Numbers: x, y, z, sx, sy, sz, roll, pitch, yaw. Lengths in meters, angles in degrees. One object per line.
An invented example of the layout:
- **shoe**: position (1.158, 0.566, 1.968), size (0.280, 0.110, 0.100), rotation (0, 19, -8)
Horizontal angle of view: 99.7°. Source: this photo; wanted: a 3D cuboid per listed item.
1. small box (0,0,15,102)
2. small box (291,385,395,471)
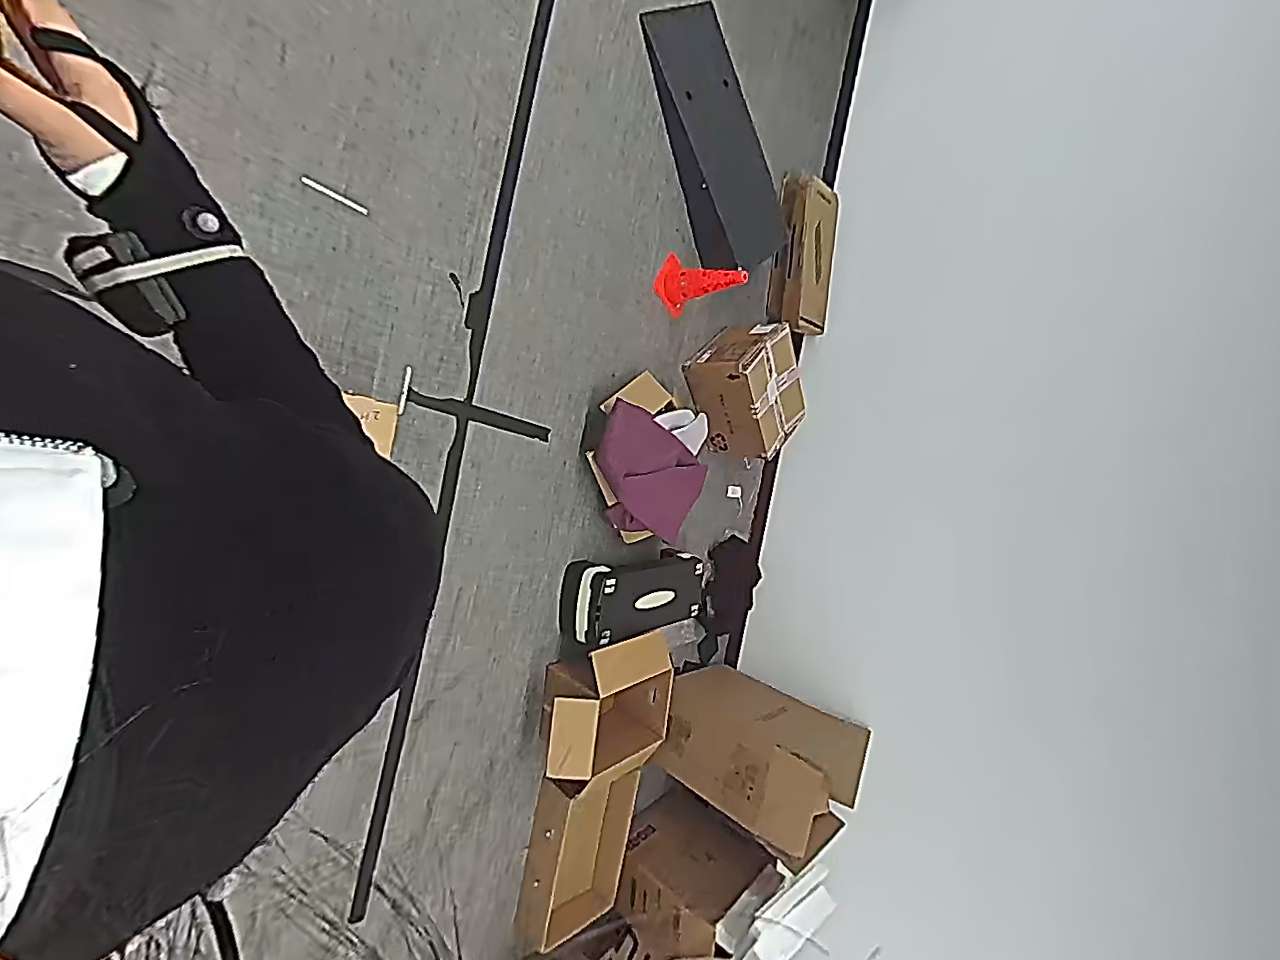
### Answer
- **small box**: position (-0.454, -0.331, 0.276), size (0.168, 0.176, 0.179), rotation (-5, 113, -46)
- **small box**: position (-0.743, -0.130, 1.346), size (0.168, 0.176, 0.179), rotation (11, 90, -49)
